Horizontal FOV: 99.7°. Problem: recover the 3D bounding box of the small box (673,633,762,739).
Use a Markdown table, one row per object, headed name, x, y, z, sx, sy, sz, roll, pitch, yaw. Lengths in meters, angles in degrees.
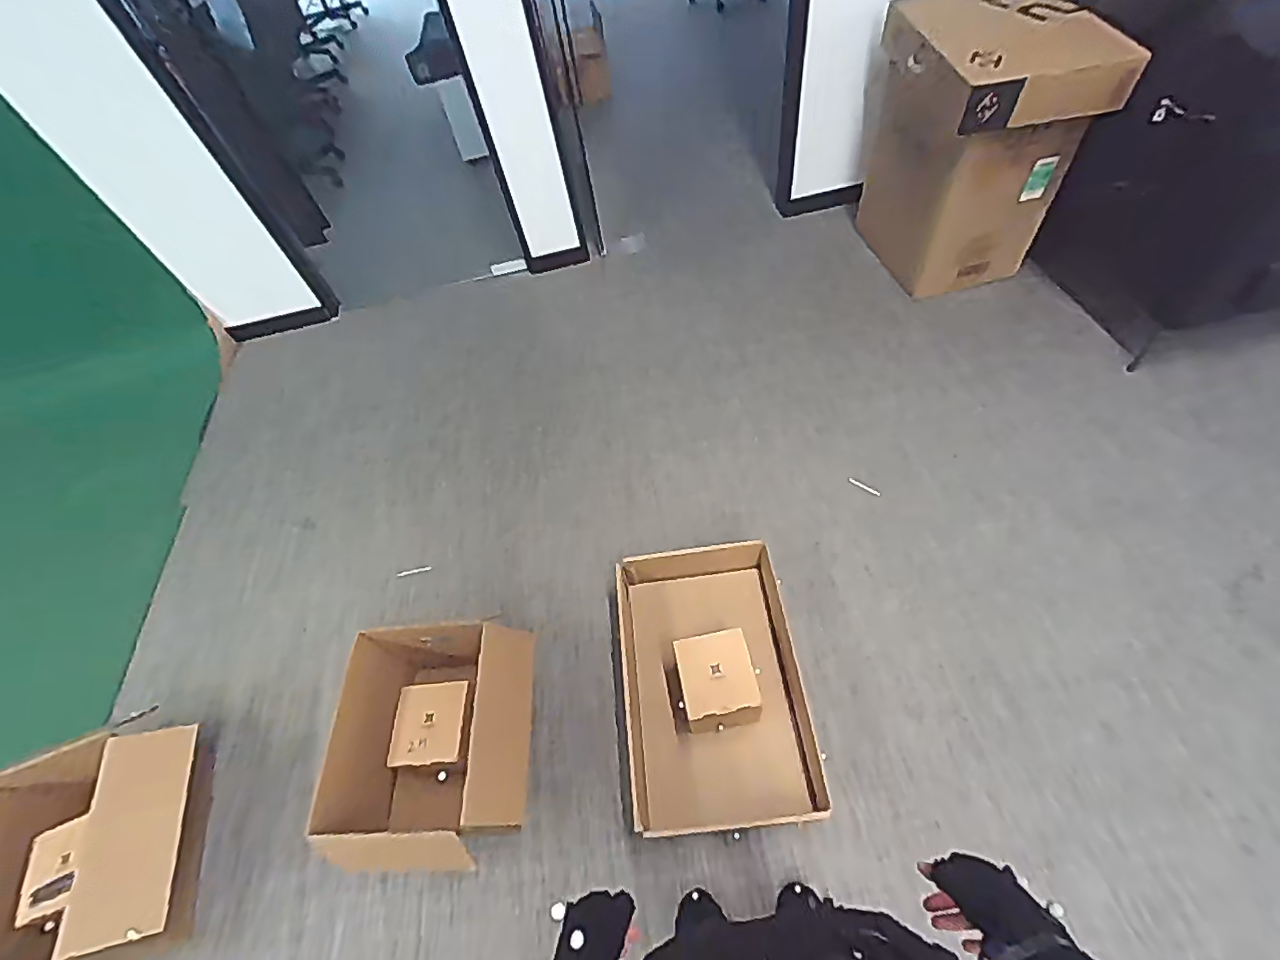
| name | x | y | z | sx | sy | sz | roll | pitch | yaw |
| --- | --- | --- | --- | --- | --- | --- | --- | --- | --- |
| small box | 0.175 | 0.482 | 1.261 | 0.168 | 0.176 | 0.179 | -12 | 54 | 0 |
